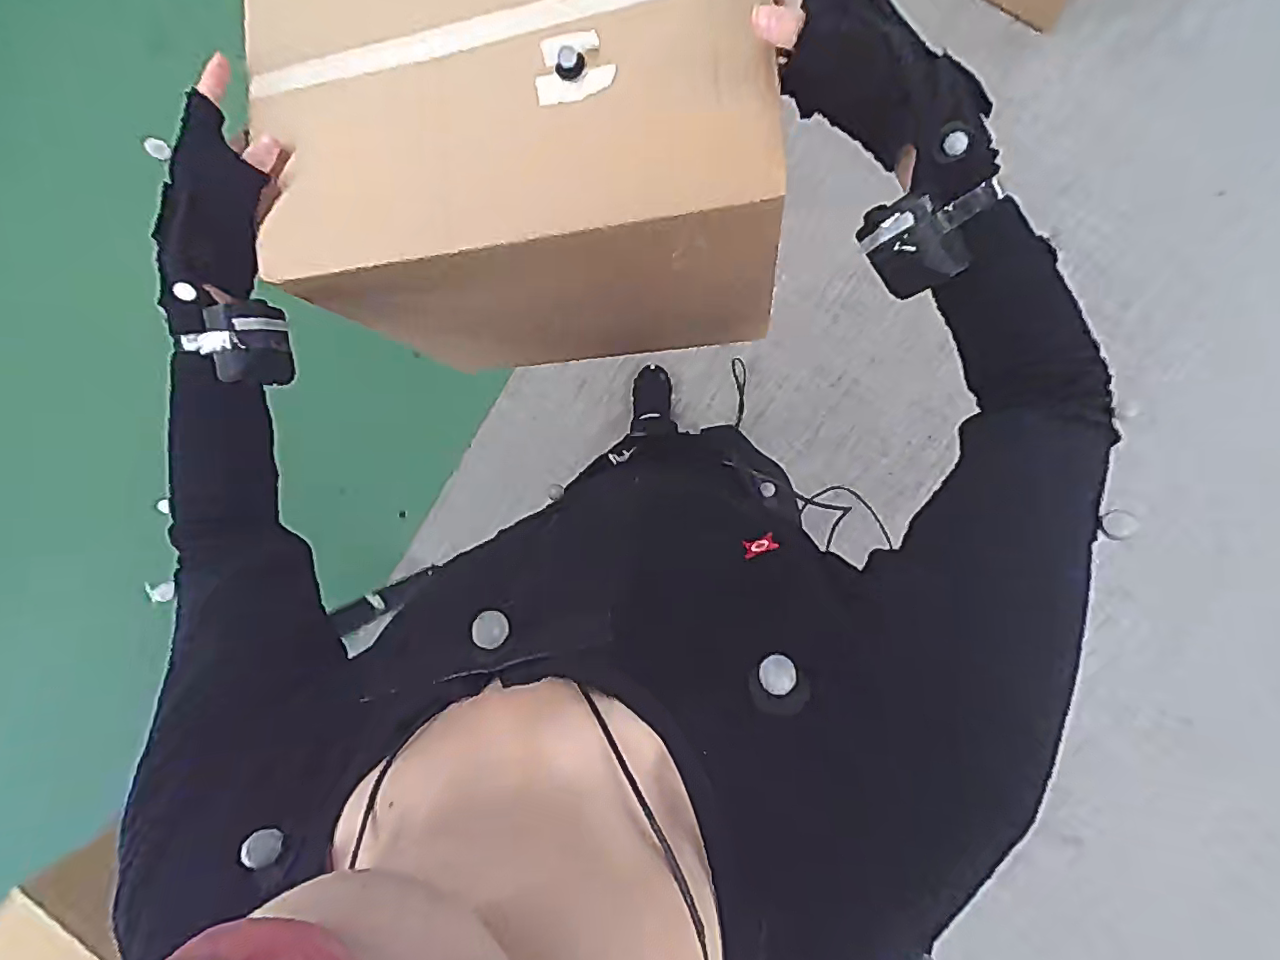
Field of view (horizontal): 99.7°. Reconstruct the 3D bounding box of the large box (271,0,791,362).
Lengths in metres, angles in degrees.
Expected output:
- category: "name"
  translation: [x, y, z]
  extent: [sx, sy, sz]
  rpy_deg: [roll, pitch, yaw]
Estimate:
- category: "large box"
  translation: [-0.078, -0.328, 0.554]
  extent: [0.408, 0.320, 0.320]
  rpy_deg: [-4, 87, 9]
